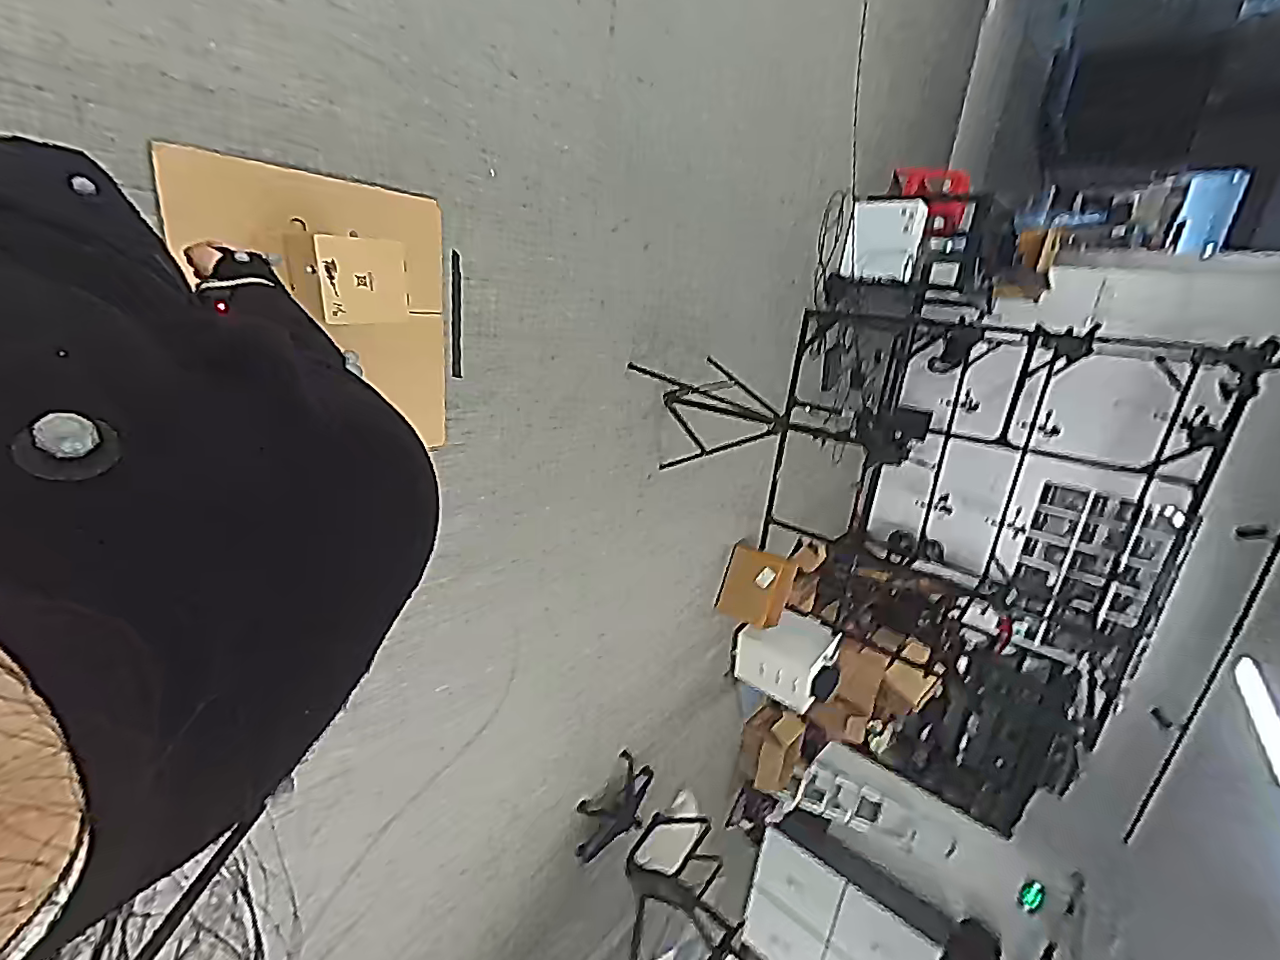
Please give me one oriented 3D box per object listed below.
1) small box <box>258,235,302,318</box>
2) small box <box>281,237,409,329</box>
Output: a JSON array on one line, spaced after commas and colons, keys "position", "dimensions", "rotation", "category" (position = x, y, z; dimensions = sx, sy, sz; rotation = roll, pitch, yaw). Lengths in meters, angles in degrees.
[{"position": [-0.742, -0.458, 1.231], "dimensions": [0.179, 0.176, 0.168], "rotation": [-18, 120, -47], "category": "small box"}, {"position": [-0.616, -0.413, 1.136], "dimensions": [0.179, 0.176, 0.168], "rotation": [-20, 121, -47], "category": "small box"}]
